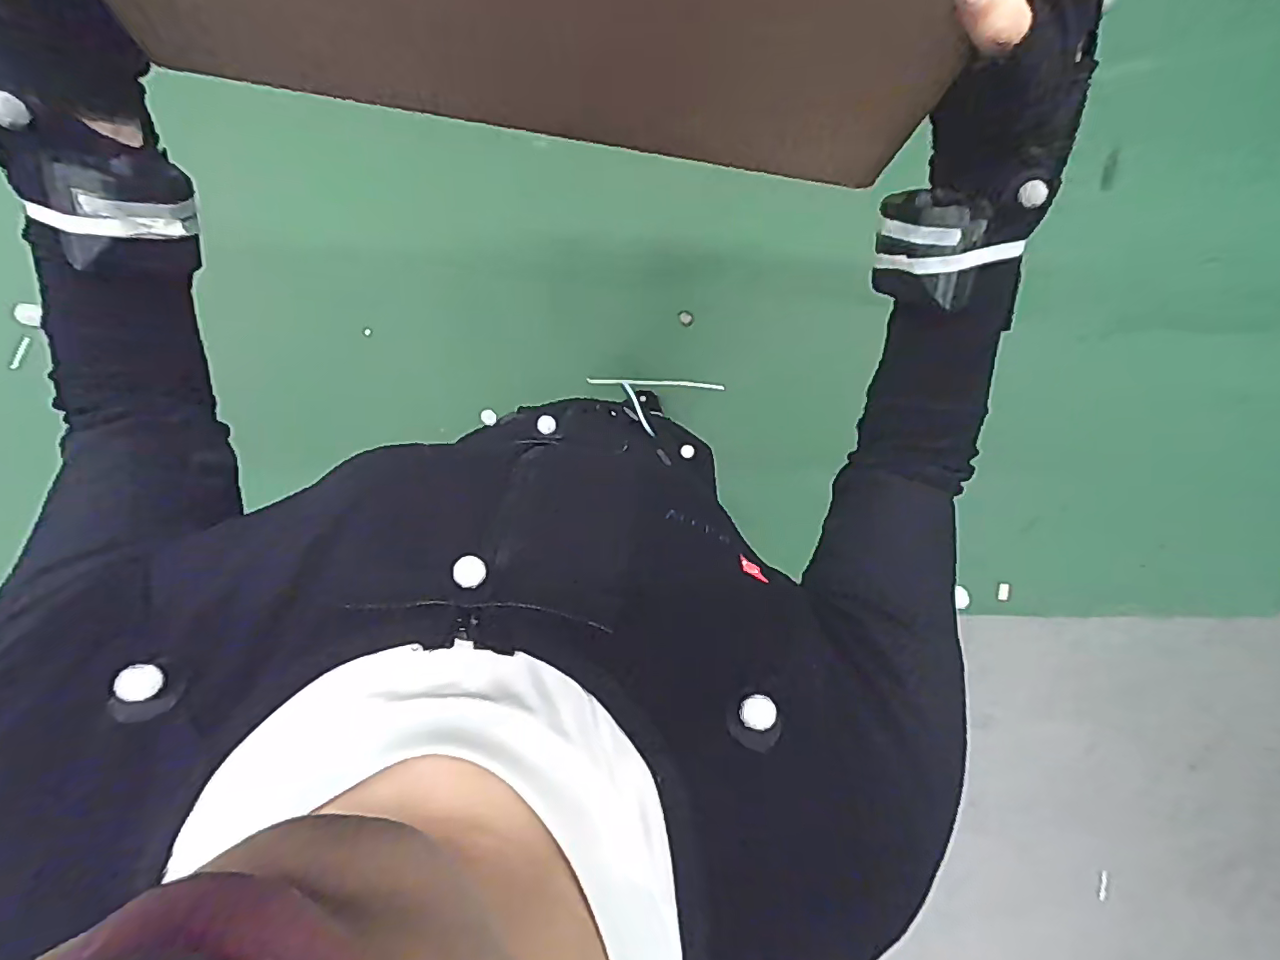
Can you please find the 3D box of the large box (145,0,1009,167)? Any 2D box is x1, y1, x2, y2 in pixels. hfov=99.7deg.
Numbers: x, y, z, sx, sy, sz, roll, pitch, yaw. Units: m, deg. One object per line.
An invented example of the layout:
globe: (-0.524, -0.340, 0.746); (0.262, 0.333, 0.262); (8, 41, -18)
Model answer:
large box: (-0.016, -0.379, 0.191); (0.408, 0.320, 0.320); (6, 80, -8)
